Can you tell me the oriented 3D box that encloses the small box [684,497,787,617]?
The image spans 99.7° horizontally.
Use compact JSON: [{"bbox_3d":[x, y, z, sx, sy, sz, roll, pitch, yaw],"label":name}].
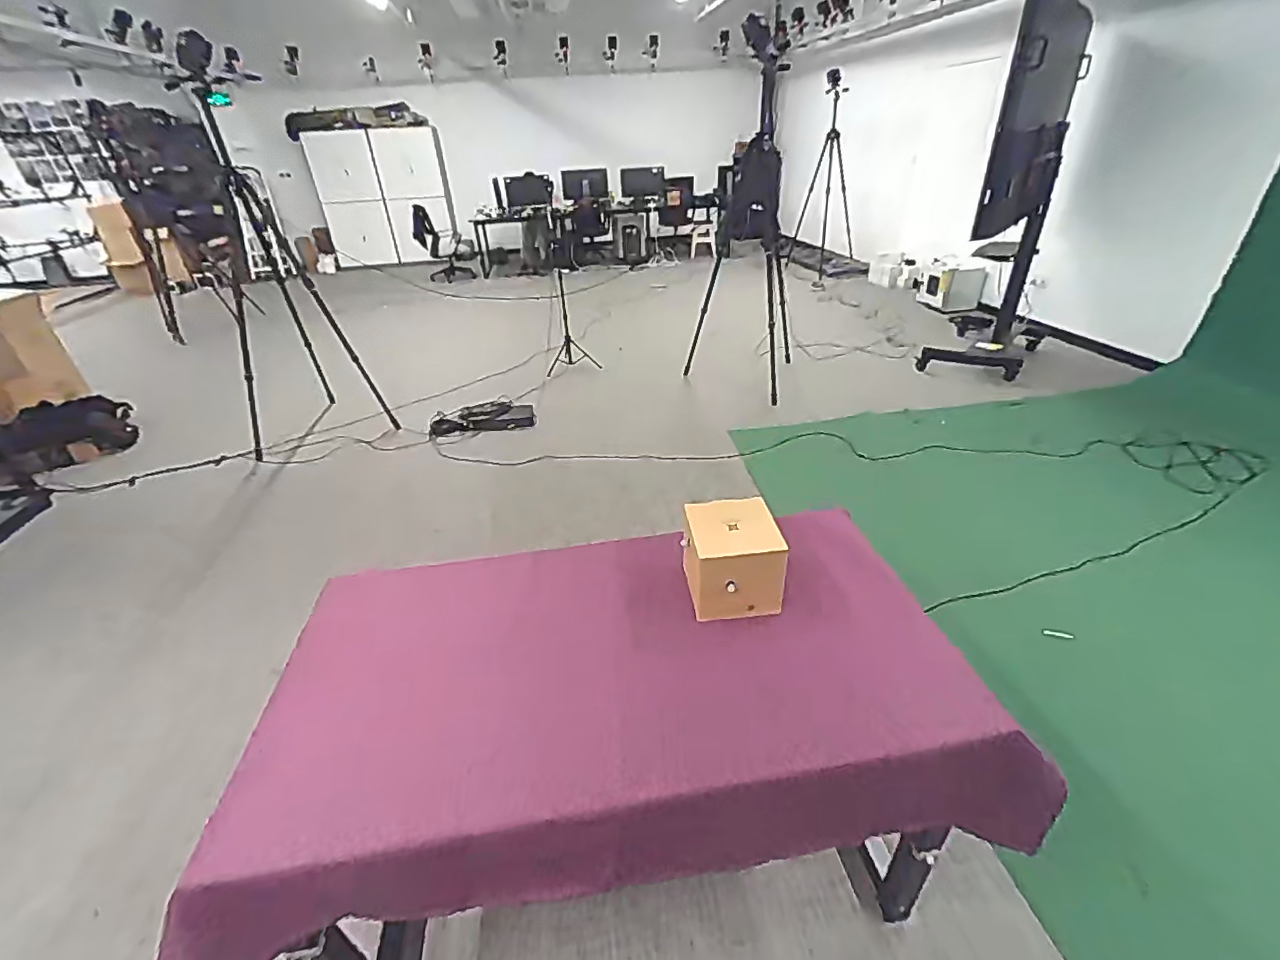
[{"bbox_3d":[0.185,0.157,1.079,0.168,0.176,0.179,-6,31,-3],"label":"small box"}]
